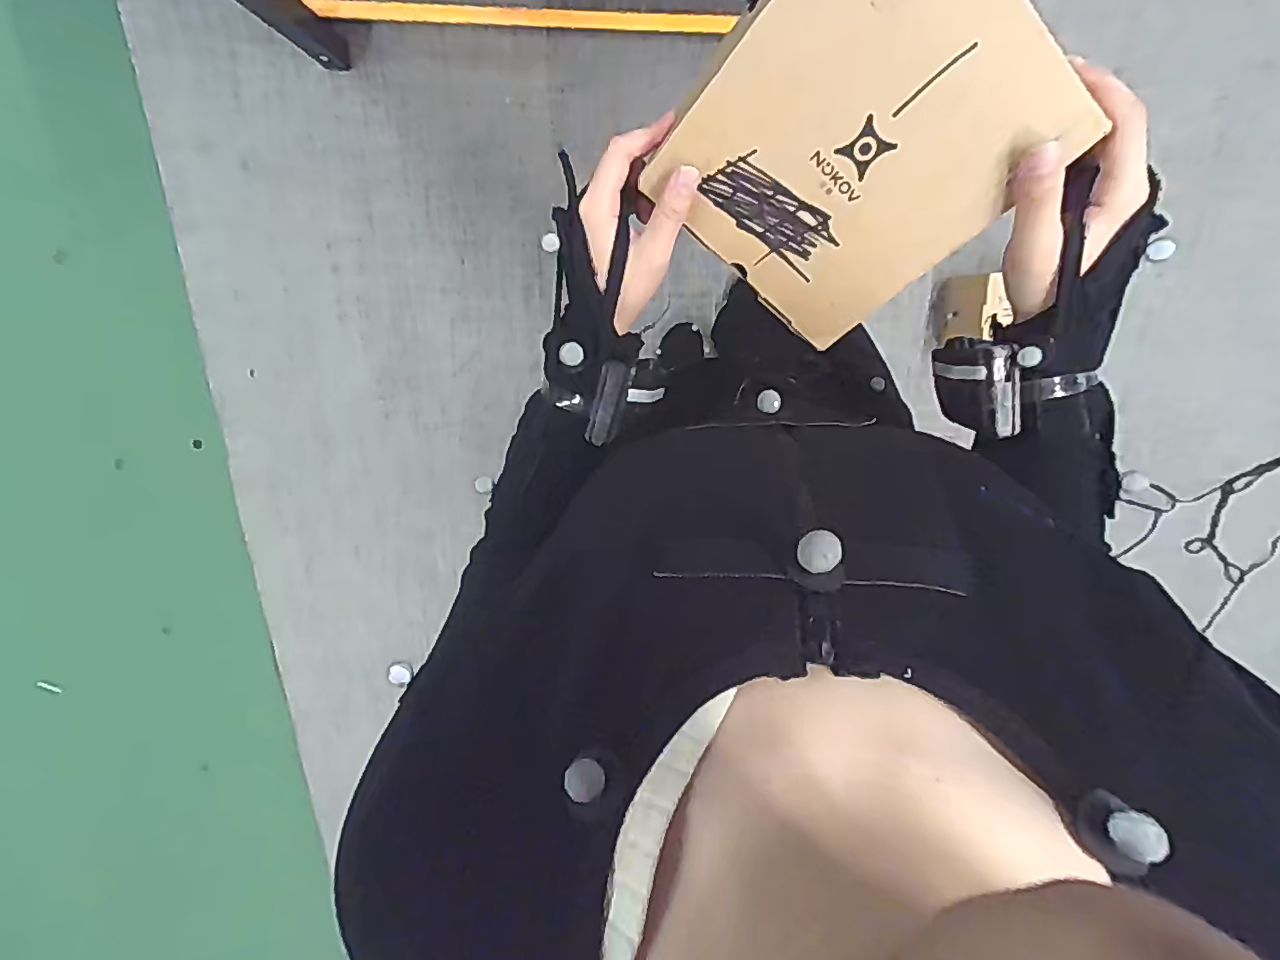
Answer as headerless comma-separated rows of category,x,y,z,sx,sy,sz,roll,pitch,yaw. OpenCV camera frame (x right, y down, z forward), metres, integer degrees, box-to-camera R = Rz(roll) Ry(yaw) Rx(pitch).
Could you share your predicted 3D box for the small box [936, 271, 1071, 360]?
small box,0.780,-0.358,1.177,0.179,0.176,0.168,-5,106,2
